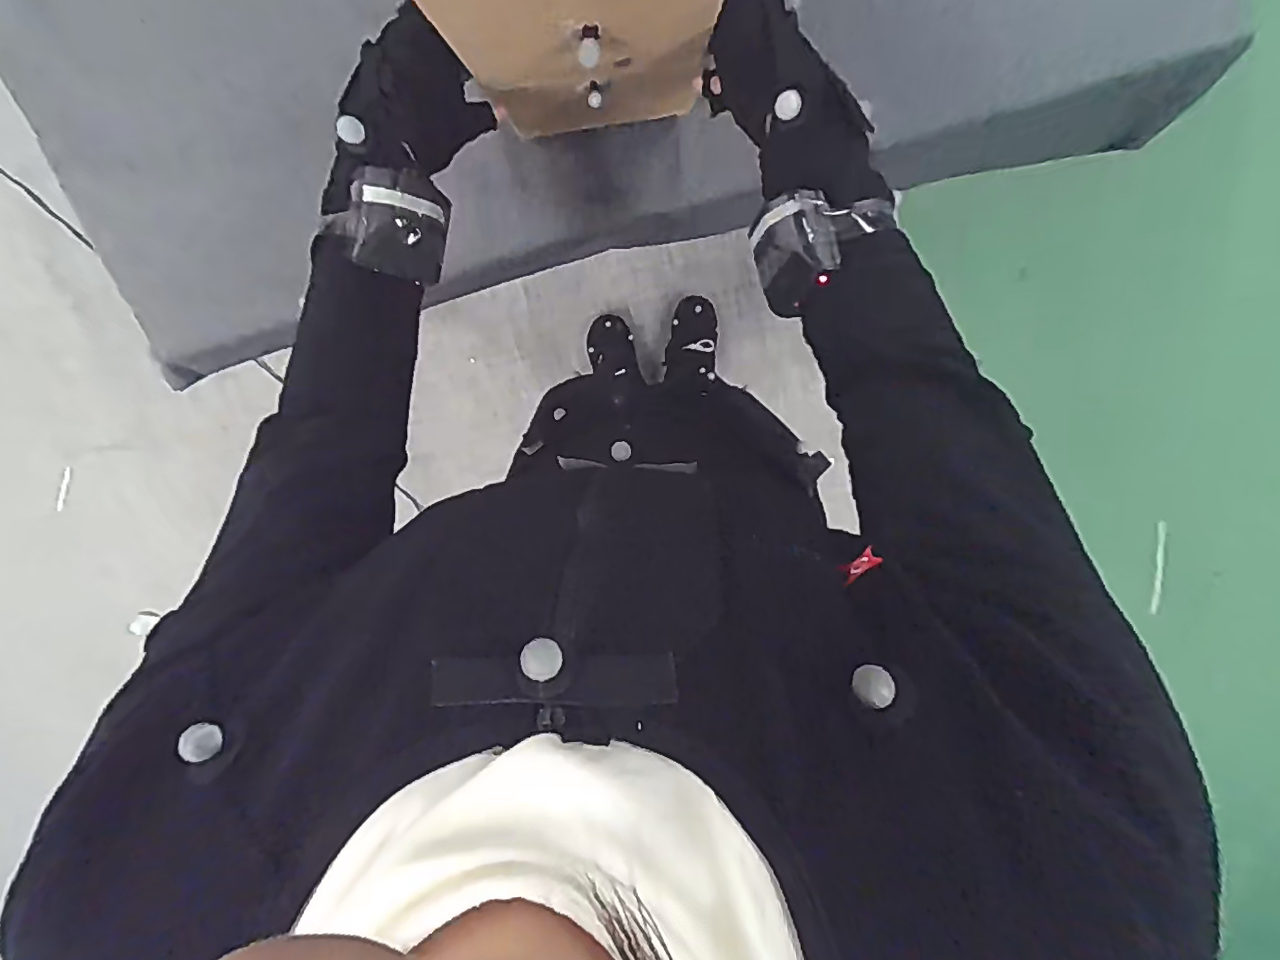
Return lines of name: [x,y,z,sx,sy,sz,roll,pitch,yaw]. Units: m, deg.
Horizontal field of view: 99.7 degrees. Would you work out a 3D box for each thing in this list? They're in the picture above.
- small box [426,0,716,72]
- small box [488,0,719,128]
small box: [-0.040,-0.356,0.299,0.168,0.176,0.179,-7,111,2]
small box: [-0.039,-0.417,0.451,0.179,0.176,0.168,-8,111,1]
